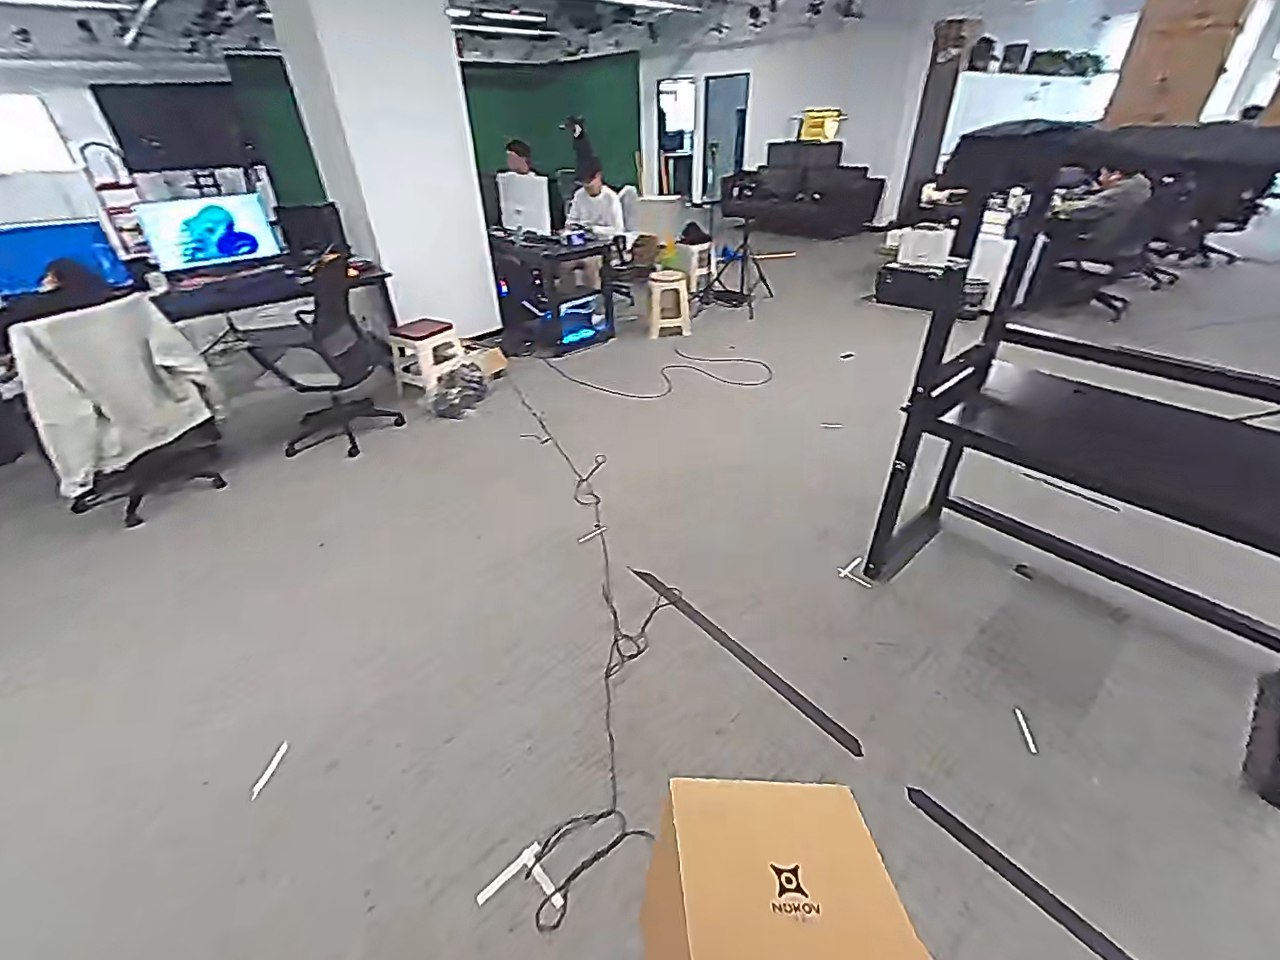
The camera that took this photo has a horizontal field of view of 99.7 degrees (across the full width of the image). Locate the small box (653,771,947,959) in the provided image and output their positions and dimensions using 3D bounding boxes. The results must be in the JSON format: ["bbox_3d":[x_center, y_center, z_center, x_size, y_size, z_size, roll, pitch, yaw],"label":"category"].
[{"bbox_3d":[0.106,0.363,0.417,0.168,0.176,0.179,6,21,-6],"label":"small box"}]

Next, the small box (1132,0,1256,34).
[{"bbox_3d":[1.120,-0.989,1.067,0.179,0.176,0.168,-29,41,-36],"label":"small box"}]

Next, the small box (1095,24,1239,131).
[{"bbox_3d":[1.119,-0.850,1.157,0.168,0.176,0.179,28,43,36],"label":"small box"}]
